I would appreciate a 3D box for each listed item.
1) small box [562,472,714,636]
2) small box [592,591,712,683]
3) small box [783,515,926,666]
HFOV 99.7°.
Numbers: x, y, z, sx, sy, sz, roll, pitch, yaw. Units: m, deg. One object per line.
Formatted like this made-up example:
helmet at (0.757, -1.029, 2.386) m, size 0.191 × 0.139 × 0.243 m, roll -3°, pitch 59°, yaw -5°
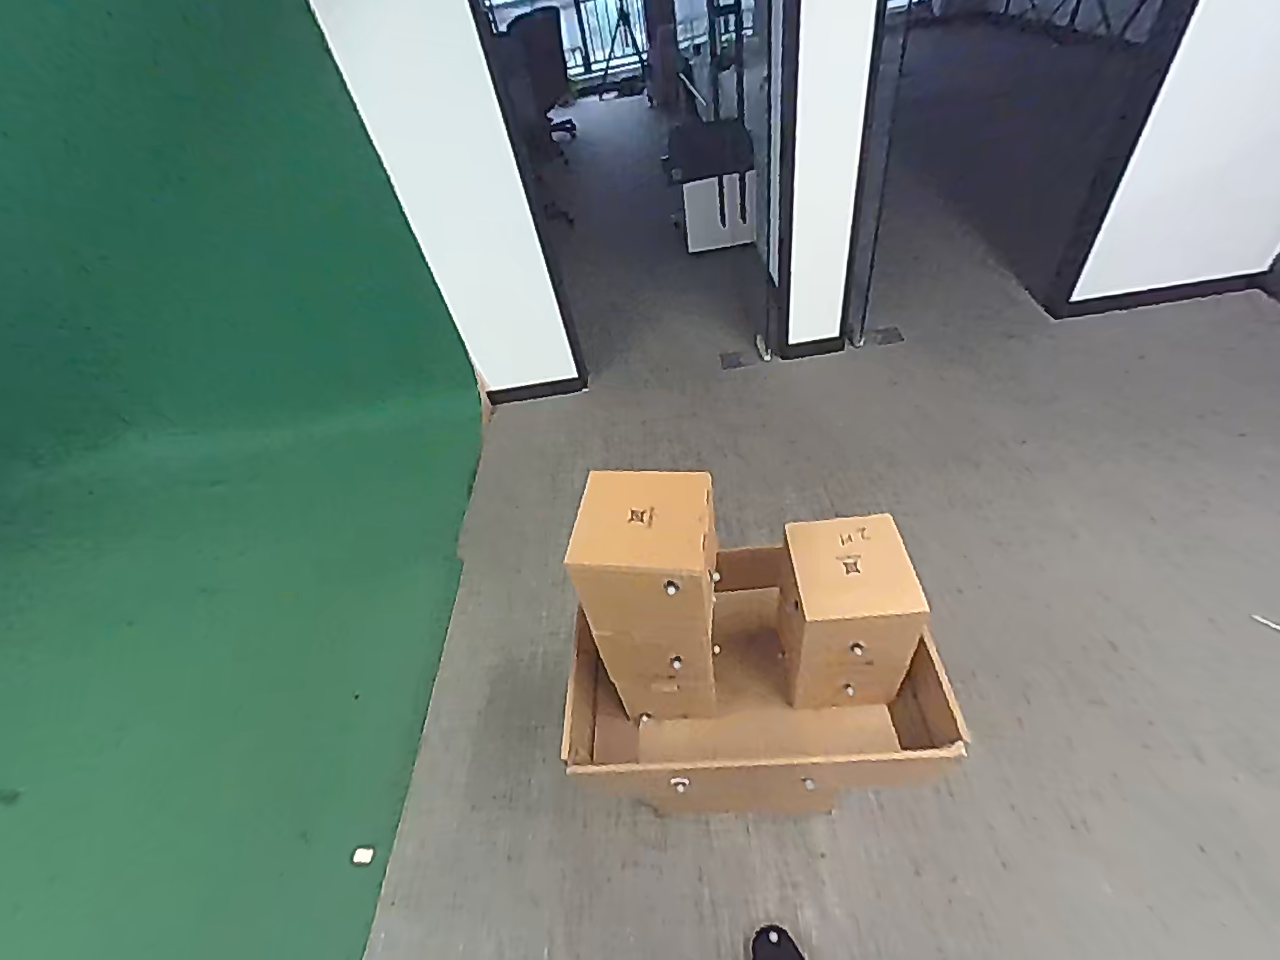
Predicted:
small box at (0.010, 0.105, 0.765) m, size 0.179 × 0.176 × 0.168 m, roll 2°, pitch 47°, yaw 11°
small box at (0.030, 0.215, 0.883) m, size 0.168 × 0.176 × 0.179 m, roll -2°, pitch 45°, yaw 10°
small box at (0.321, 0.179, 0.846) m, size 0.168 × 0.176 × 0.179 m, roll -6°, pitch 46°, yaw 8°
